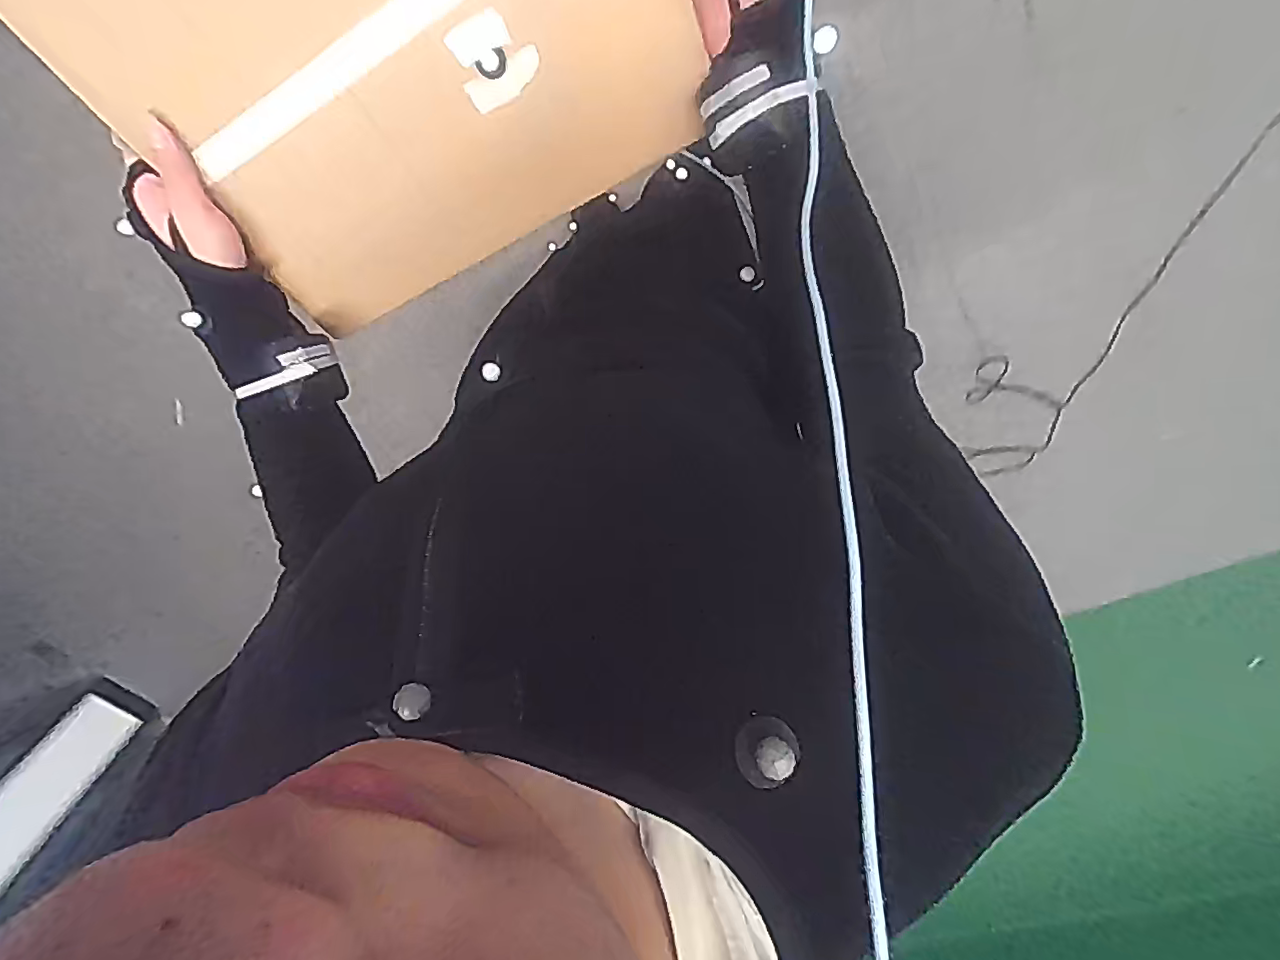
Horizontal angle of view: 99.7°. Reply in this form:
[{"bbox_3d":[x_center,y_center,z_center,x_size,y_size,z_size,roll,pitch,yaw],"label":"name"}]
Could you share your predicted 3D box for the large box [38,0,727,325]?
[{"bbox_3d":[-0.182,-0.416,0.487,0.408,0.320,0.320,-21,132,15],"label":"large box"}]
